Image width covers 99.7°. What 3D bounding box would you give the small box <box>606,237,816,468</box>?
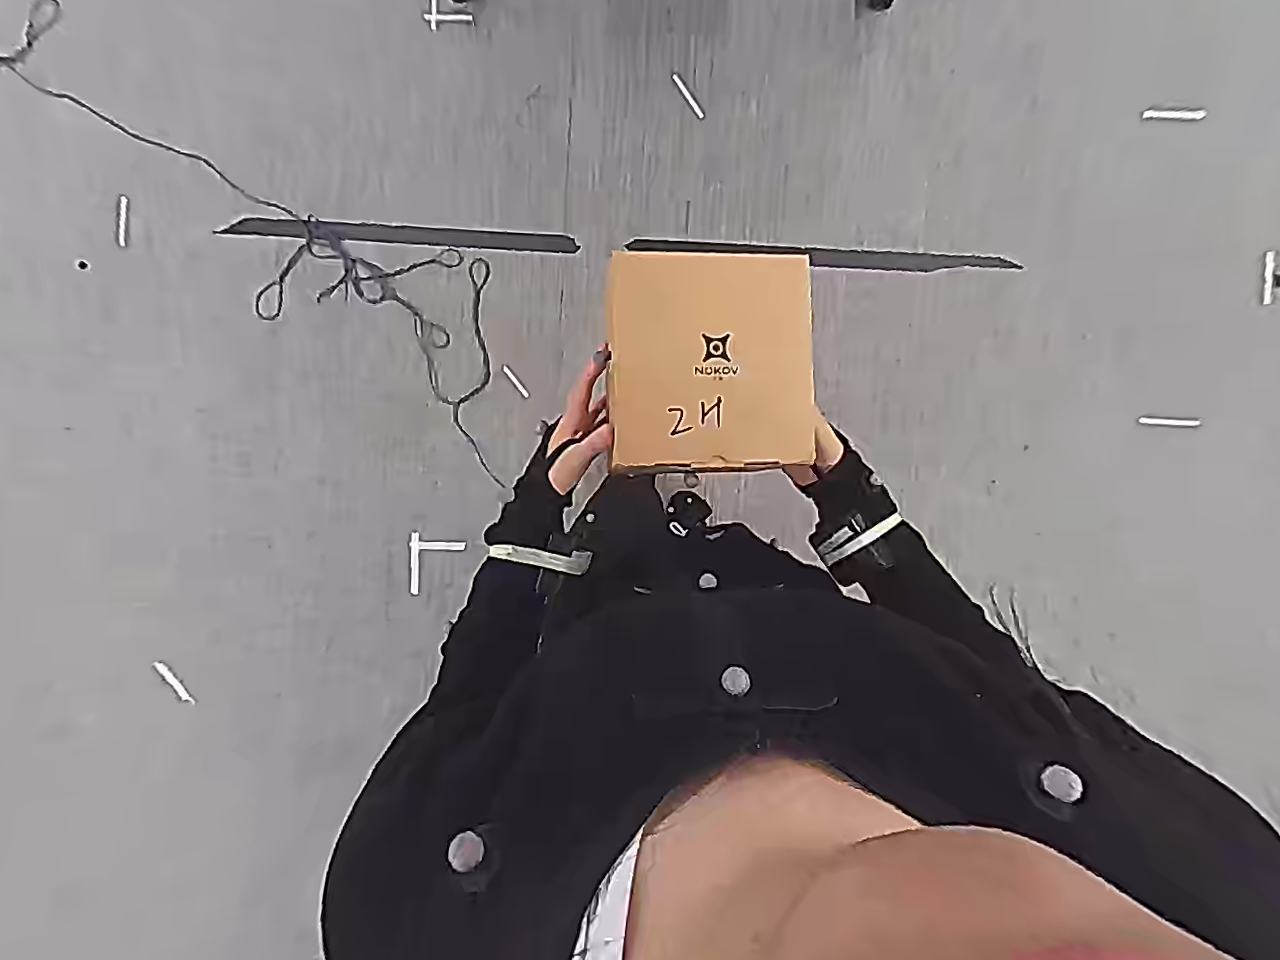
[{"bbox_3d":[0.053,-0.104,0.513,0.168,0.176,0.179,-1,88,-5],"label":"small box"}]
